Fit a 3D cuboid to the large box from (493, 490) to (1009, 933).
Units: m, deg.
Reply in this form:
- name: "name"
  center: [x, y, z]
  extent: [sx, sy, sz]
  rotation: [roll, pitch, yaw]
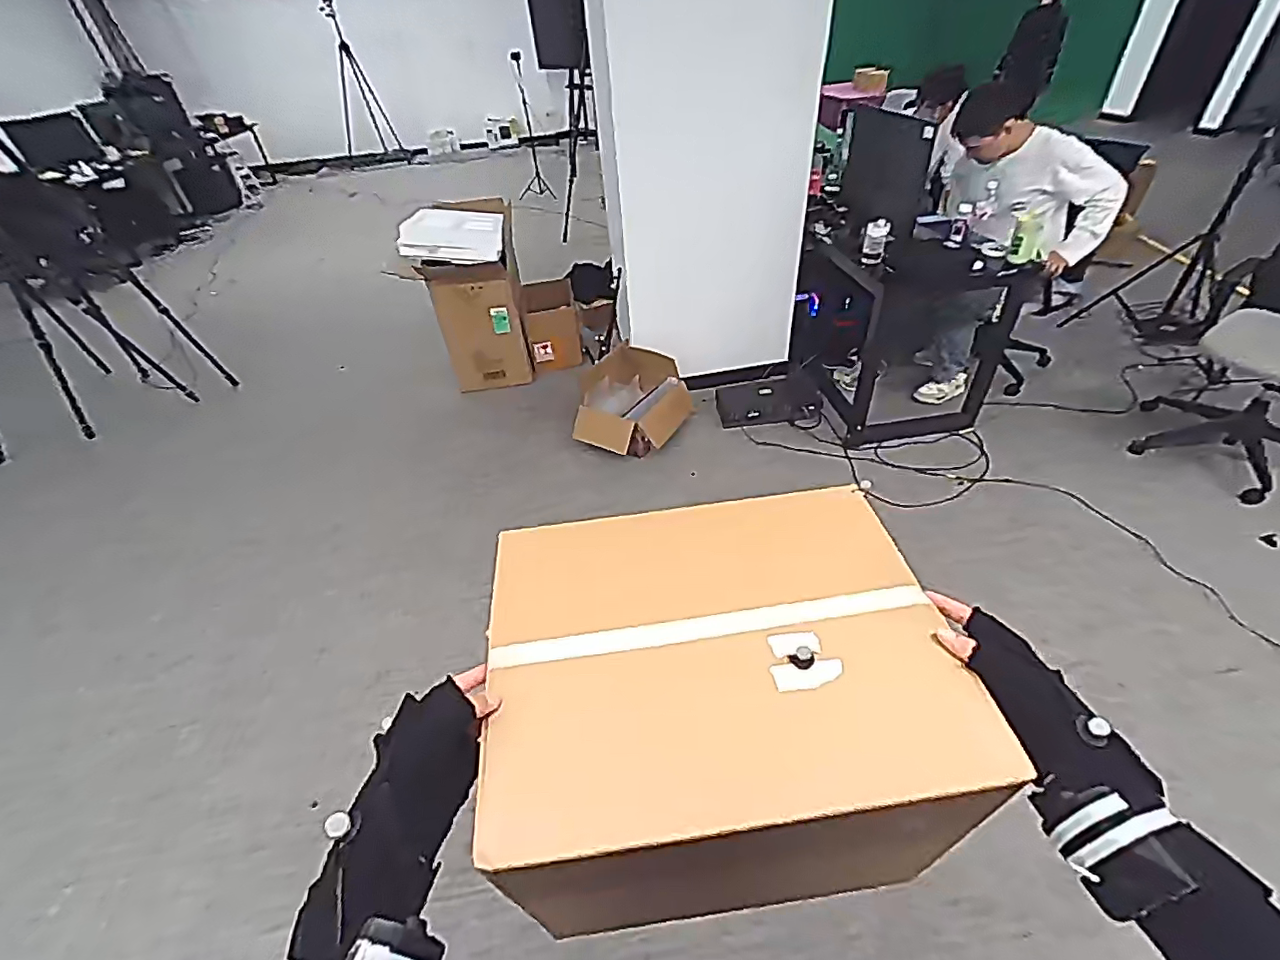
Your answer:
- name: "large box"
  center: [0.075, 0.250, 0.605]
  extent: [0.408, 0.320, 0.320]
  rotation: [-8, 43, -4]
